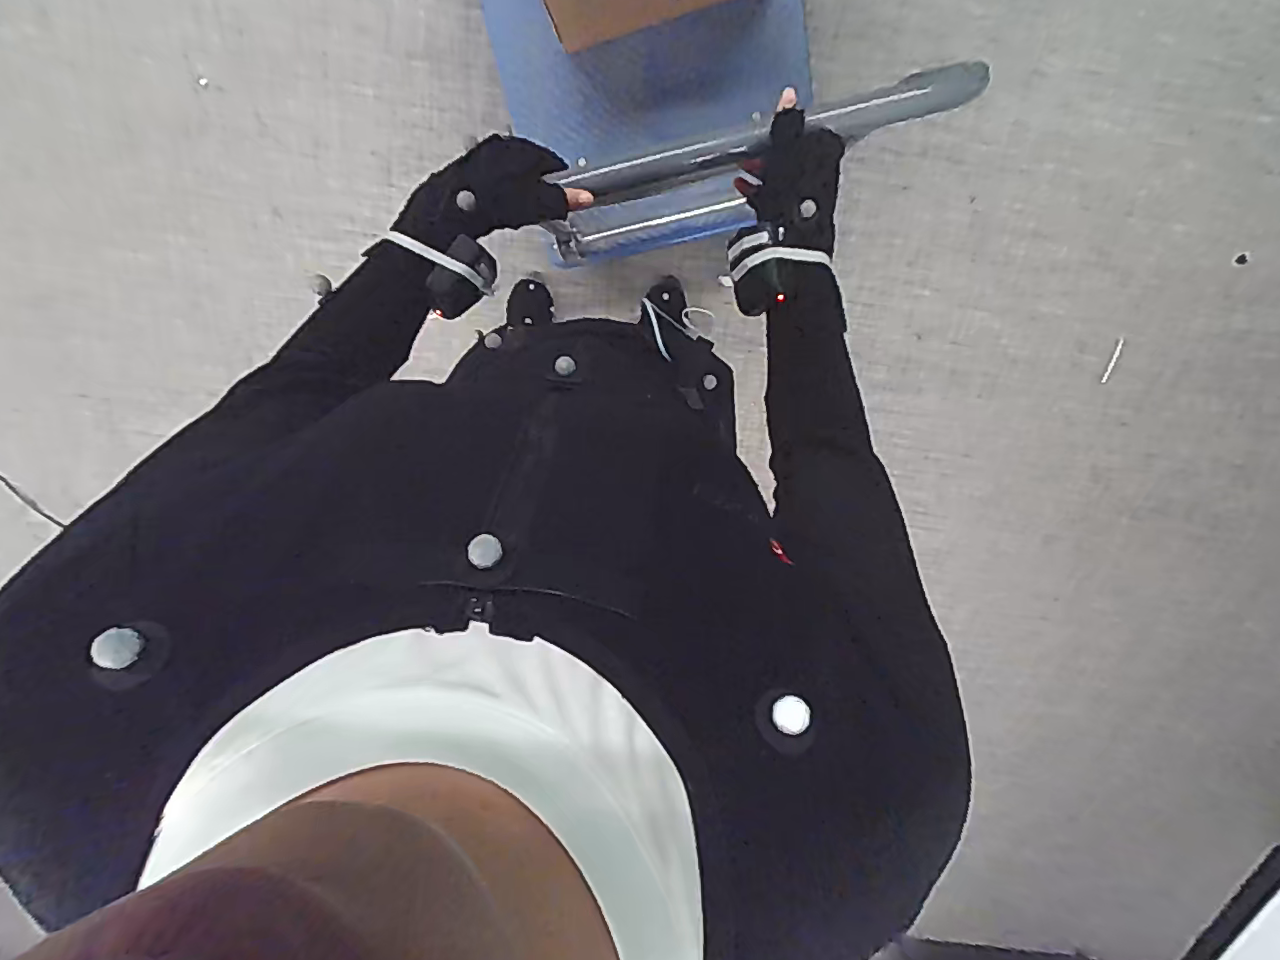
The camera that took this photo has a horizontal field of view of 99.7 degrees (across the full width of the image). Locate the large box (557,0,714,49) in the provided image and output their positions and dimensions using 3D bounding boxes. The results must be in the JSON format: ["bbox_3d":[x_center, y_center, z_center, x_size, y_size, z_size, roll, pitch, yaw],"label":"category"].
[{"bbox_3d":[0.028,-0.933,0.806,0.408,0.320,0.320,-14,112,7],"label":"large box"}]
